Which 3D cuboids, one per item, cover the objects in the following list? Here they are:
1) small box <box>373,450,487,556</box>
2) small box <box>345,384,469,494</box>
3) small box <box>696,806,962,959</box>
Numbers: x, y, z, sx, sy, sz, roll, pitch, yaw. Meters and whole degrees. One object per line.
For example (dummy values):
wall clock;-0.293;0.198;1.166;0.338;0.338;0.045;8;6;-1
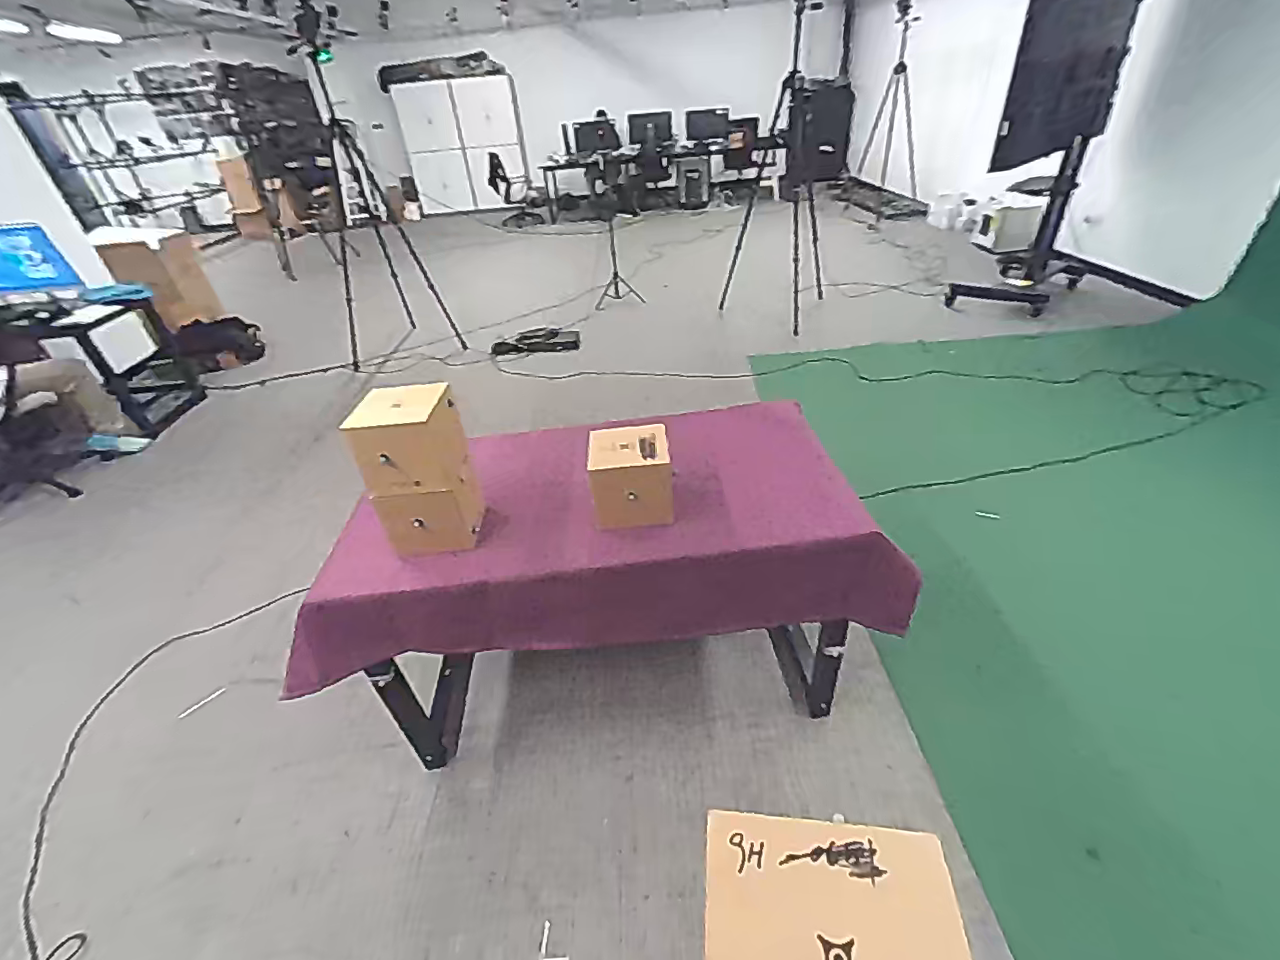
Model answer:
small box;-0.458;0.052;1.216;0.179;0.176;0.168;-6;35;0
small box;-0.469;-0.081;1.124;0.168;0.176;0.179;-5;34;1
small box;0.123;0.367;0.388;0.168;0.176;0.179;2;41;7
